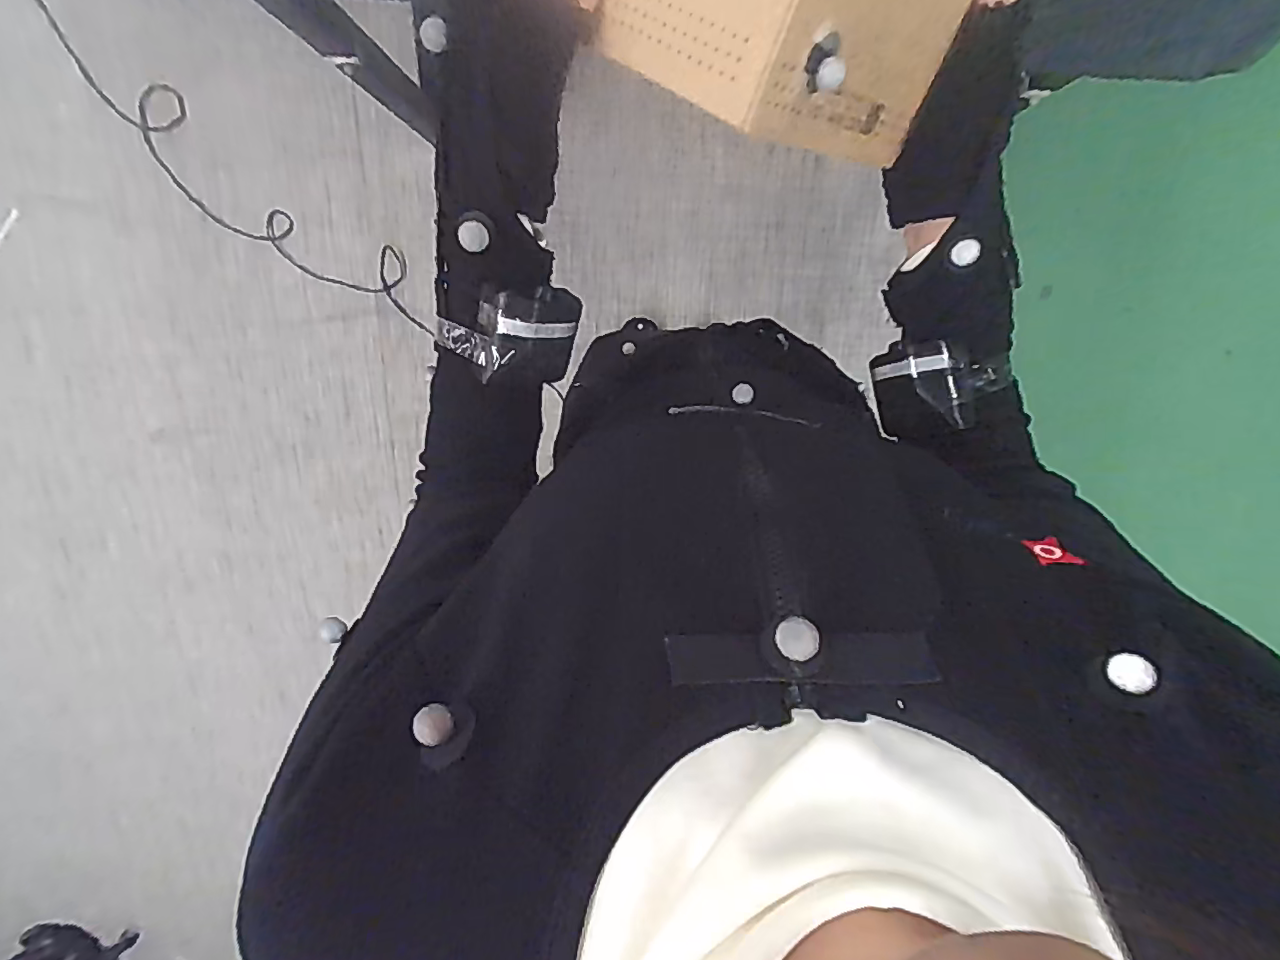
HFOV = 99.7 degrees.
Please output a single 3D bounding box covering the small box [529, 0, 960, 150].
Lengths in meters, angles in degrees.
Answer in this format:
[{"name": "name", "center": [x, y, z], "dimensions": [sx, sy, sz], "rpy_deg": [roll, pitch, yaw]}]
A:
[{"name": "small box", "center": [0.068, -0.292, 0.271], "dimensions": [0.179, 0.168, 0.176], "rpy_deg": [44, 132, 23]}]
